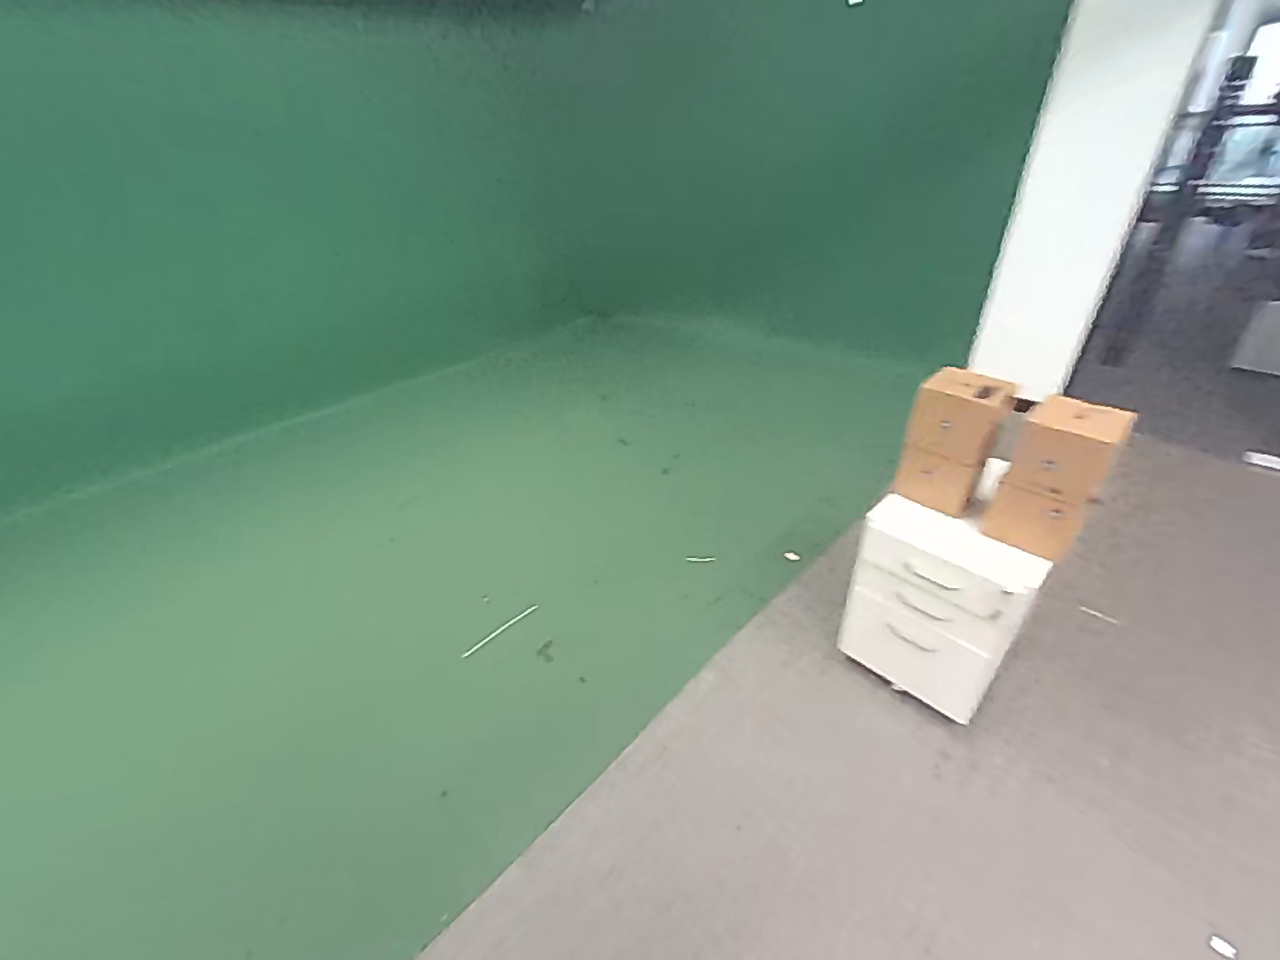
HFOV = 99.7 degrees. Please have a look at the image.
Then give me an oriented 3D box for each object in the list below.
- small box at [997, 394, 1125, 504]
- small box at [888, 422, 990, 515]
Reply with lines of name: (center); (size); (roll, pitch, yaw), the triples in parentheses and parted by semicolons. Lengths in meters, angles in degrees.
small box: (0.949, -0.072, 1.232); (0.179, 0.176, 0.168); (-30, 43, -33)
small box: (0.809, -0.032, 1.478); (0.168, 0.176, 0.179); (-32, 45, -34)
